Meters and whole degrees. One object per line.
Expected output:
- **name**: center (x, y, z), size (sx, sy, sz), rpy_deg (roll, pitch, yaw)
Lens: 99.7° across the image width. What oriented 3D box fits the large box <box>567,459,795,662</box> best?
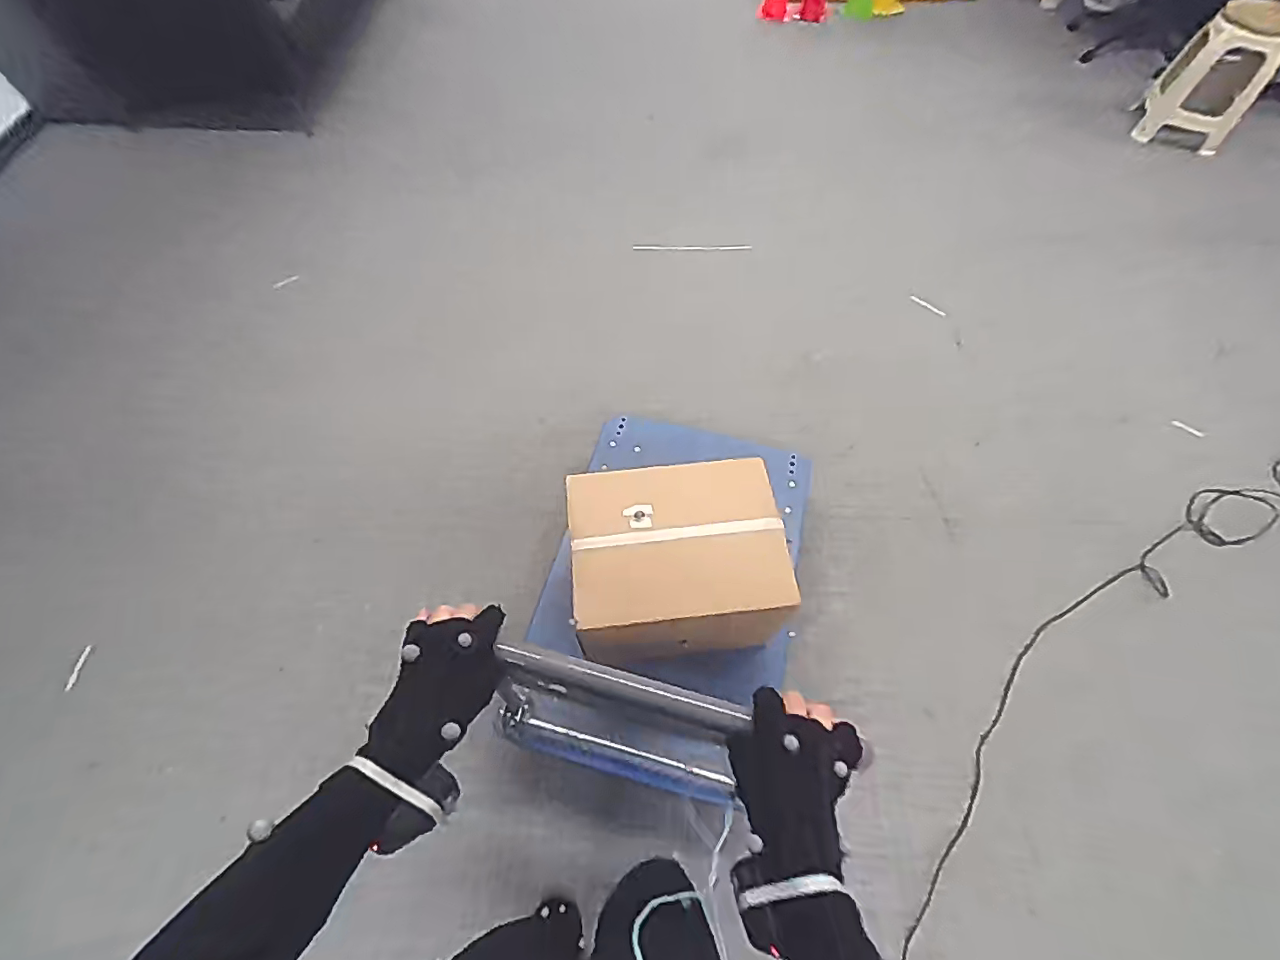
- **large box**: center (0.070, 0.184, 1.166), size (0.408, 0.320, 0.320), rpy_deg (-7, 59, -3)
